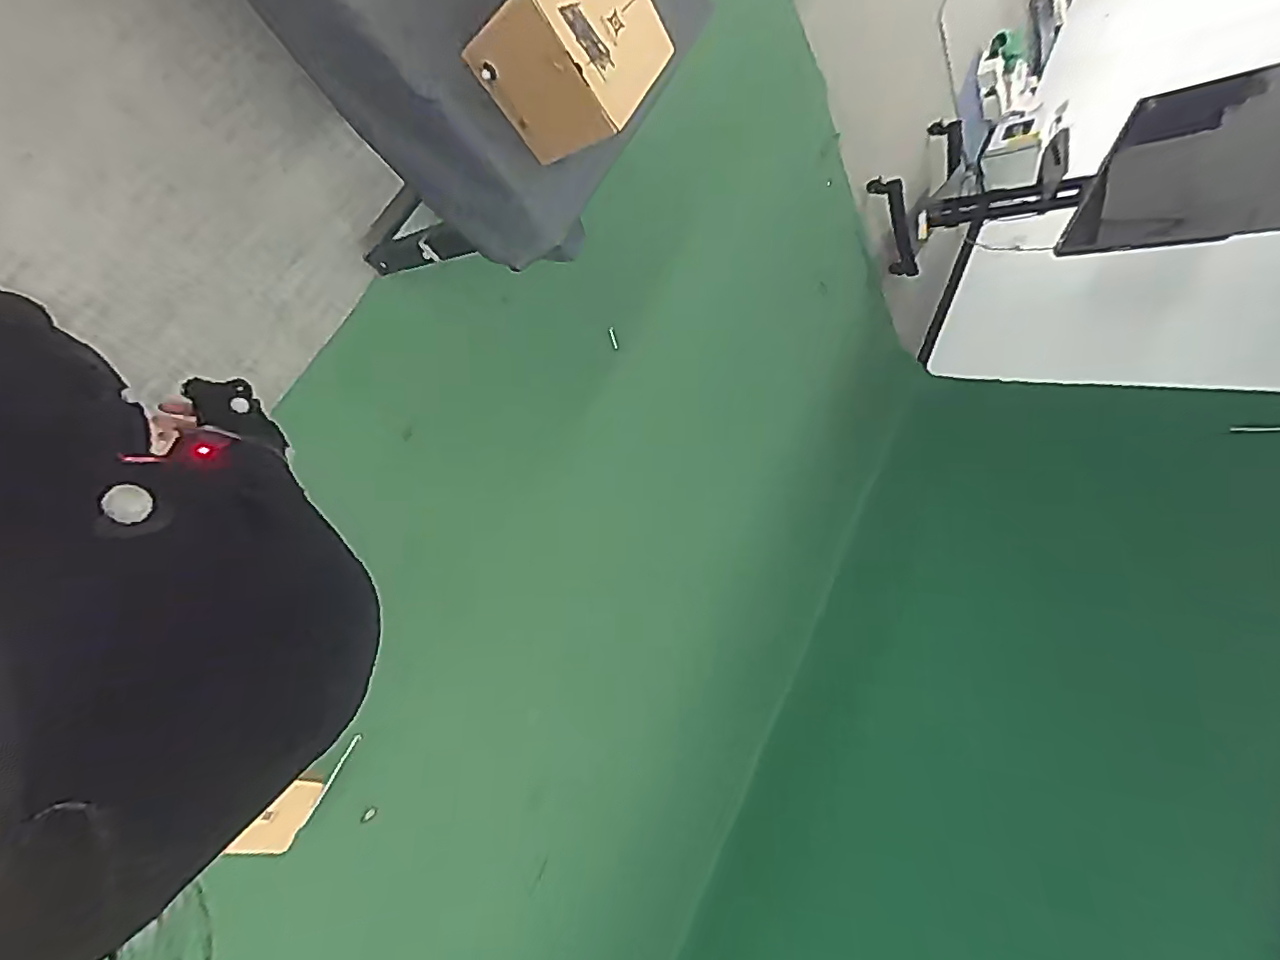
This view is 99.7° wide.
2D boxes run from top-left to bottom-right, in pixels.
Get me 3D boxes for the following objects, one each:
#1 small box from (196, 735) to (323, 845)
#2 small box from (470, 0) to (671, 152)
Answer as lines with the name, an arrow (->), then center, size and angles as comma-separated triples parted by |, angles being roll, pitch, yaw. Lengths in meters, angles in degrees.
small box -> -0.904, 0.732, 1.283 | 0.179, 0.176, 0.168 | 40, 70, -43
small box -> -0.096, -0.577, 0.715 | 0.168, 0.176, 0.179 | 43, 67, -42
